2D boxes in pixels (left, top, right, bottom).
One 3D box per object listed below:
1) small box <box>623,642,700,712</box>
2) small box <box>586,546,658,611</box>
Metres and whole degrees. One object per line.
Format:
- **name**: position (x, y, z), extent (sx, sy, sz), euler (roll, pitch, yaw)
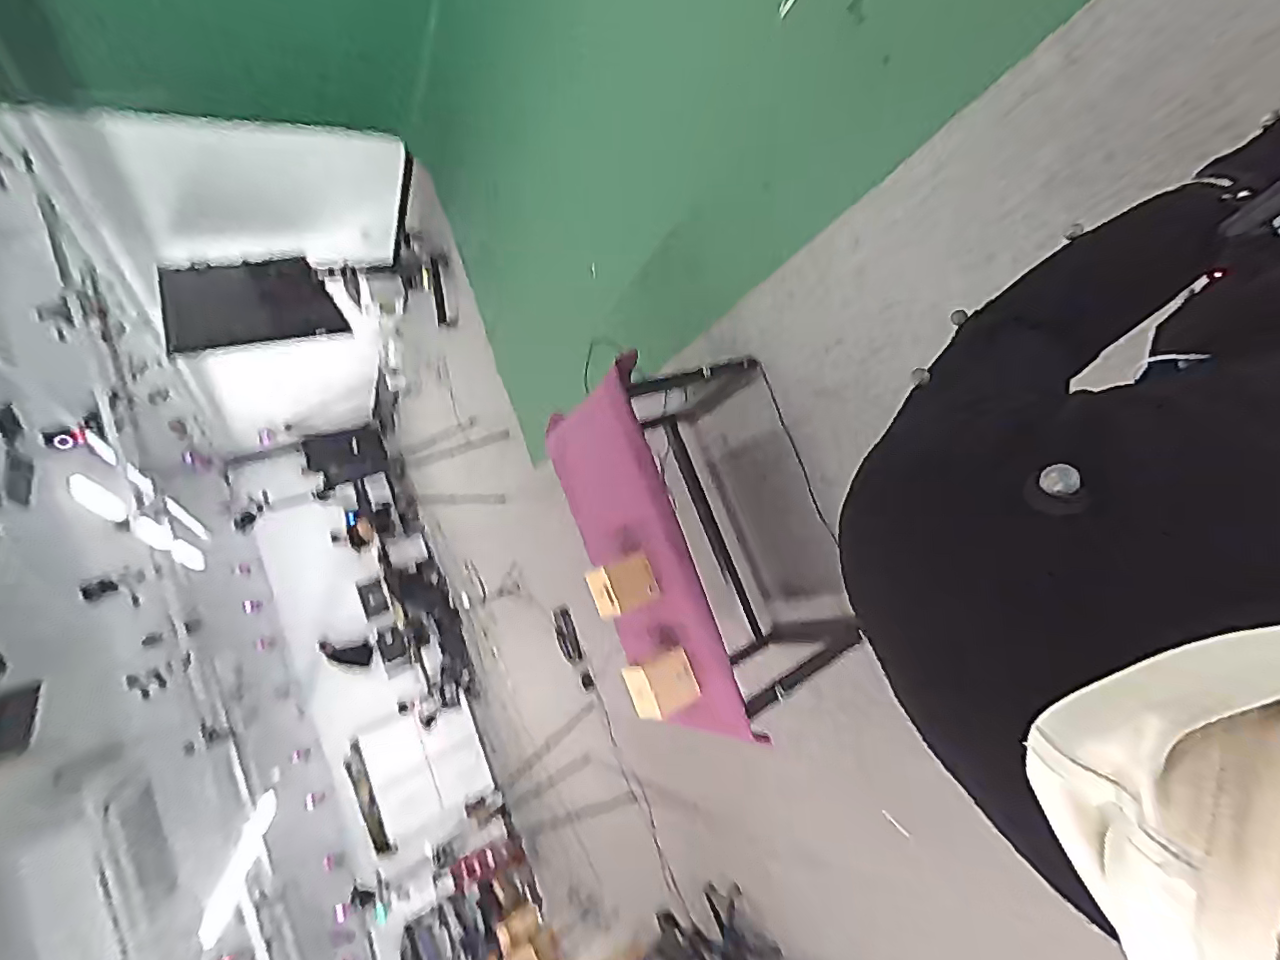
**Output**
- **small box**: position (0.073, 0.660, 1.827), extent (0.179, 0.176, 0.168), euler (-34, 77, 57)
- **small box**: position (-0.056, 0.340, 1.868), extent (0.179, 0.176, 0.168), euler (-32, 78, 58)
